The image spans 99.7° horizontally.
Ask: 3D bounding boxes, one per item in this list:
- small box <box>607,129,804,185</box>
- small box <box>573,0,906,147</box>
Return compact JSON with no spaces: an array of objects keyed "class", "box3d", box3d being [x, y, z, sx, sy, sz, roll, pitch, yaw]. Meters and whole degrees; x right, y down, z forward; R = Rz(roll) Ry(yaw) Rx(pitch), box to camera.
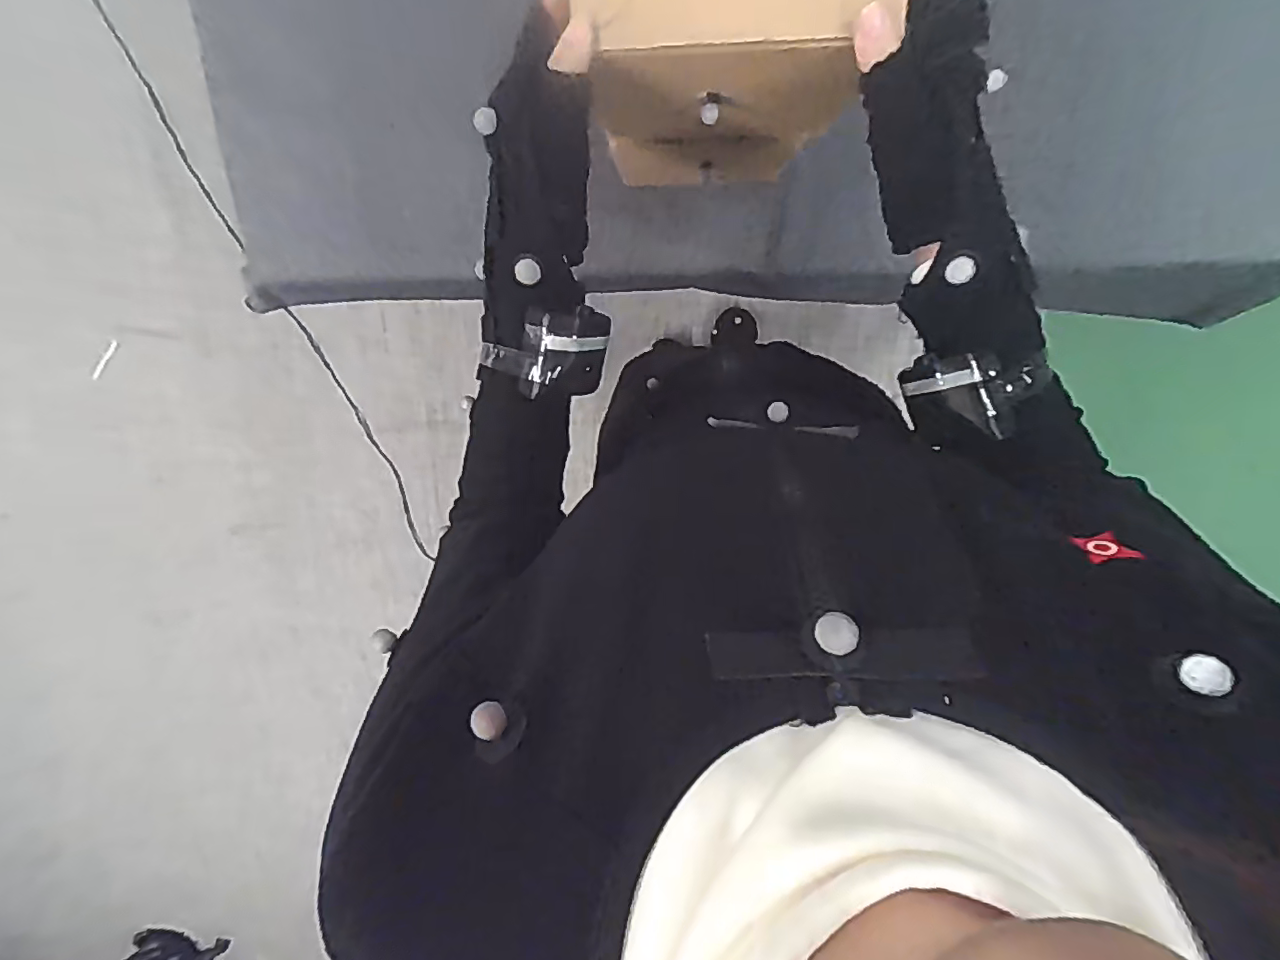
[{"class":"small box","box3d":[0.057,-0.381,0.497,0.168,0.176,0.179,-1,109,4]},{"class":"small box","box3d":[0.055,-0.326,0.341,0.179,0.176,0.168,0,108,5]}]
